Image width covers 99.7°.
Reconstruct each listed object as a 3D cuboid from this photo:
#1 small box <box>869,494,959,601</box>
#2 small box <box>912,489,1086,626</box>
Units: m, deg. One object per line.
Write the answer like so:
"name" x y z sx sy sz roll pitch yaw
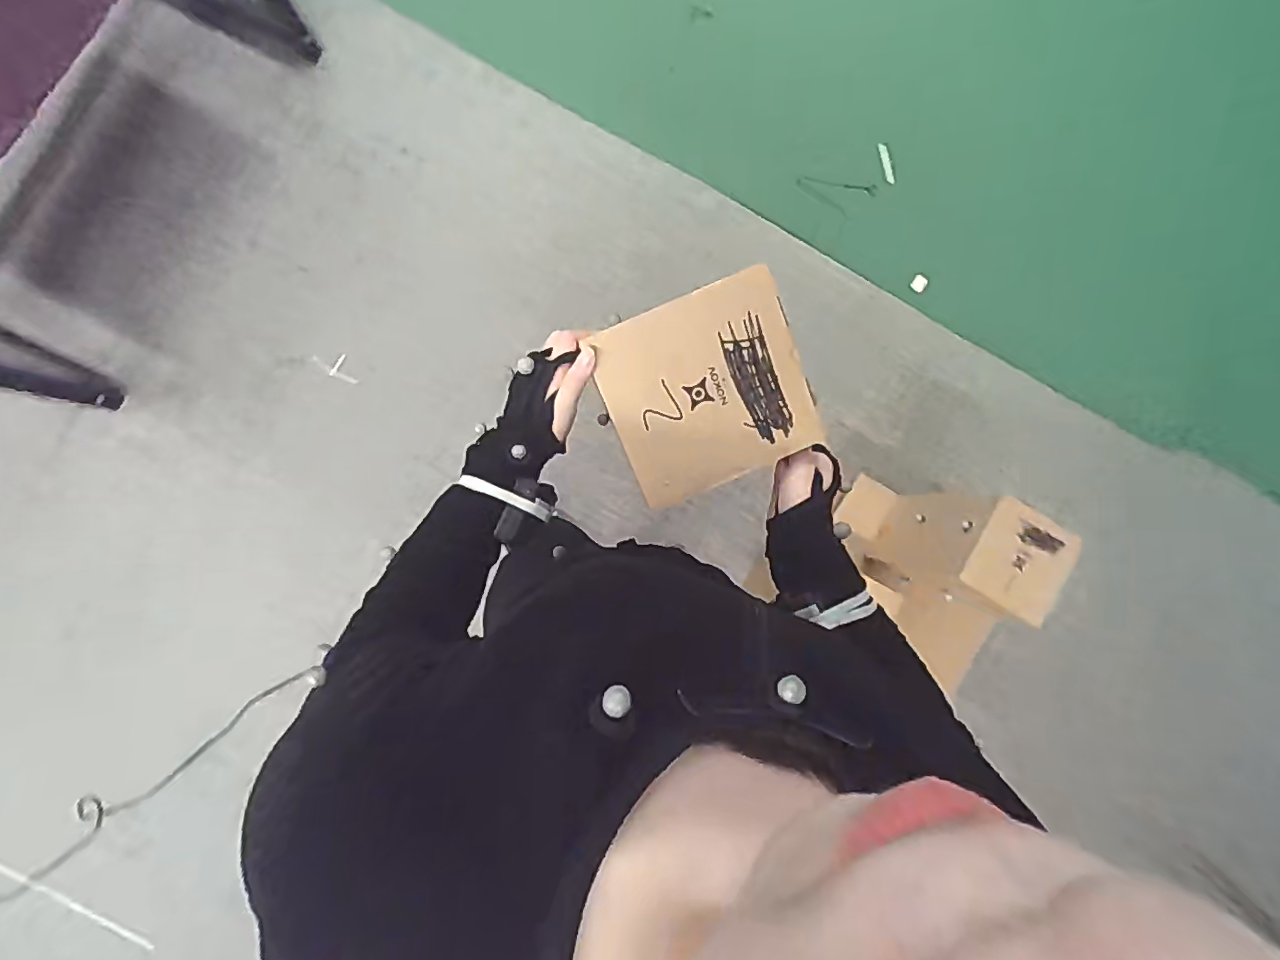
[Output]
"small box" 0.632 0.140 1.150 0.179 0.176 0.168 32 85 -3
"small box" 0.639 0.133 0.985 0.168 0.176 0.179 31 86 -2
